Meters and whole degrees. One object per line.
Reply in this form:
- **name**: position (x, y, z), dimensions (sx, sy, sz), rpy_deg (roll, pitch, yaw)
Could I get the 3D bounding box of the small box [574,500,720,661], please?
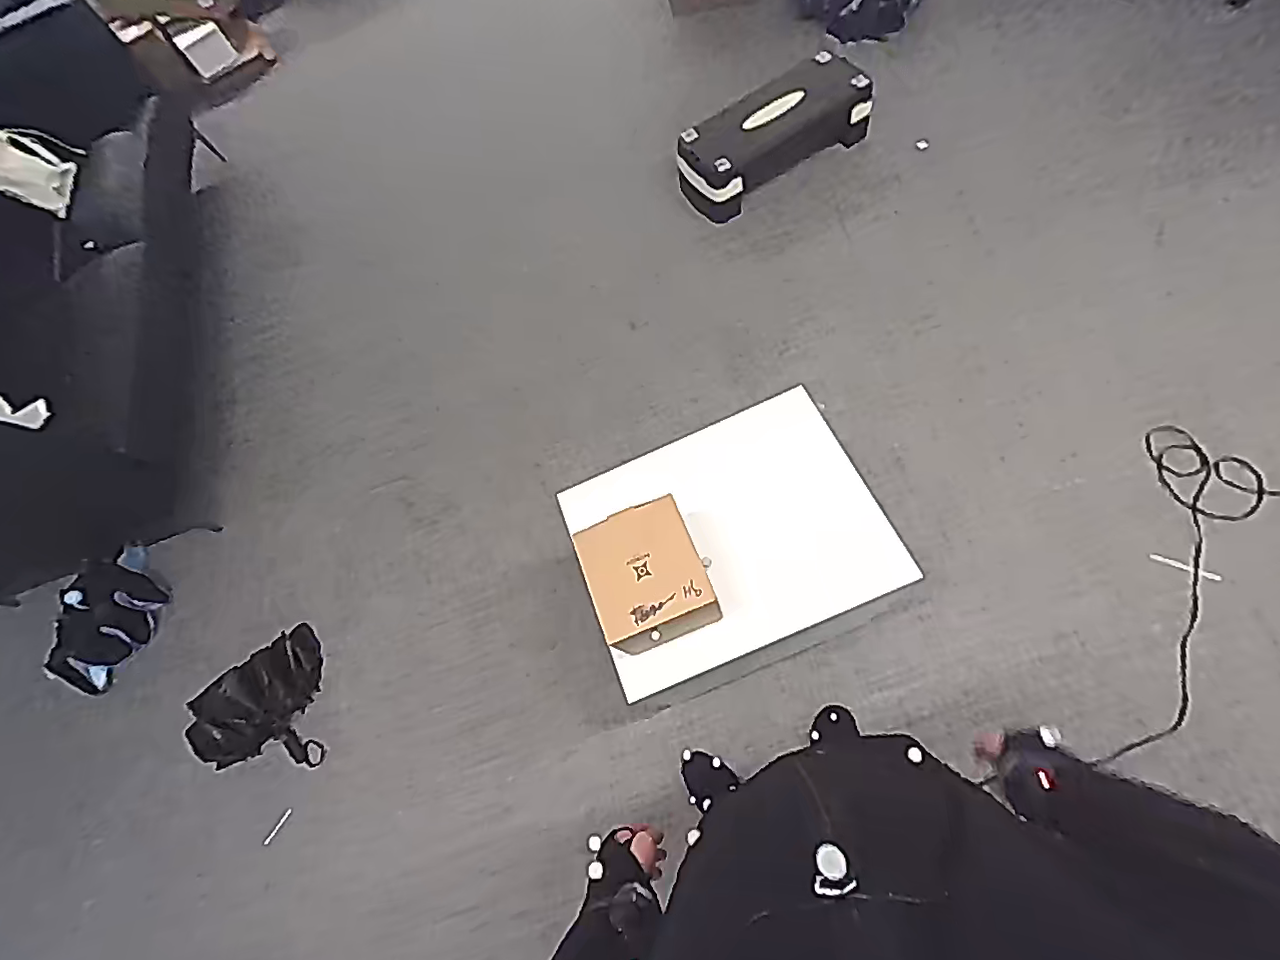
- **small box**: position (0.016, 0.163, 0.845), dimensions (0.168, 0.176, 0.179), rpy_deg (-23, 63, 1)
